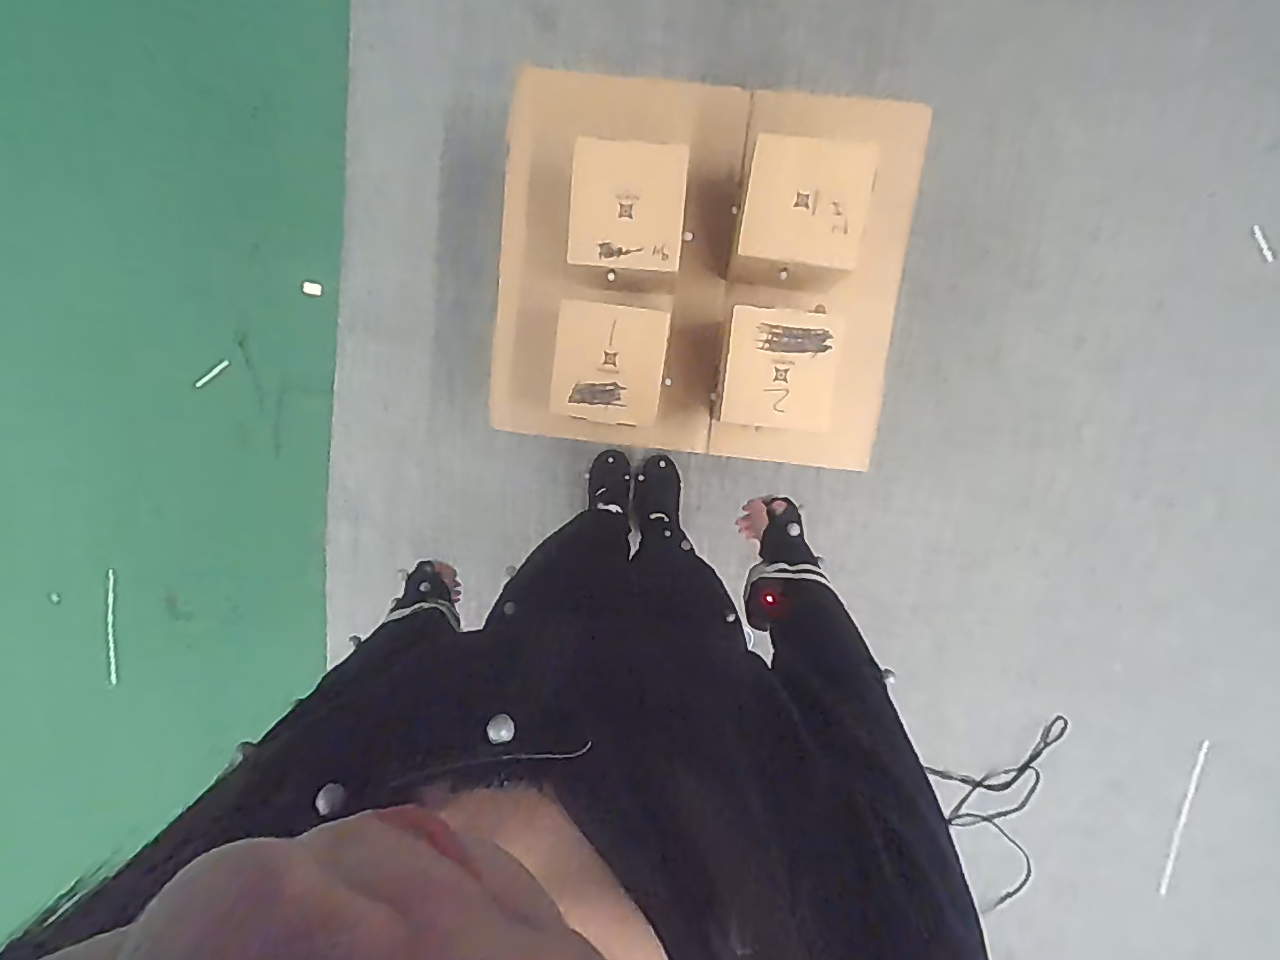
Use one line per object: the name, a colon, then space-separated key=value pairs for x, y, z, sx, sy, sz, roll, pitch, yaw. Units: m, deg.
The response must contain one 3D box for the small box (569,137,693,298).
small box: x=-0.010 y=-0.400 z=0.849 sx=0.168 sy=0.176 sz=0.179 roll=6 pitch=97 yaw=4
